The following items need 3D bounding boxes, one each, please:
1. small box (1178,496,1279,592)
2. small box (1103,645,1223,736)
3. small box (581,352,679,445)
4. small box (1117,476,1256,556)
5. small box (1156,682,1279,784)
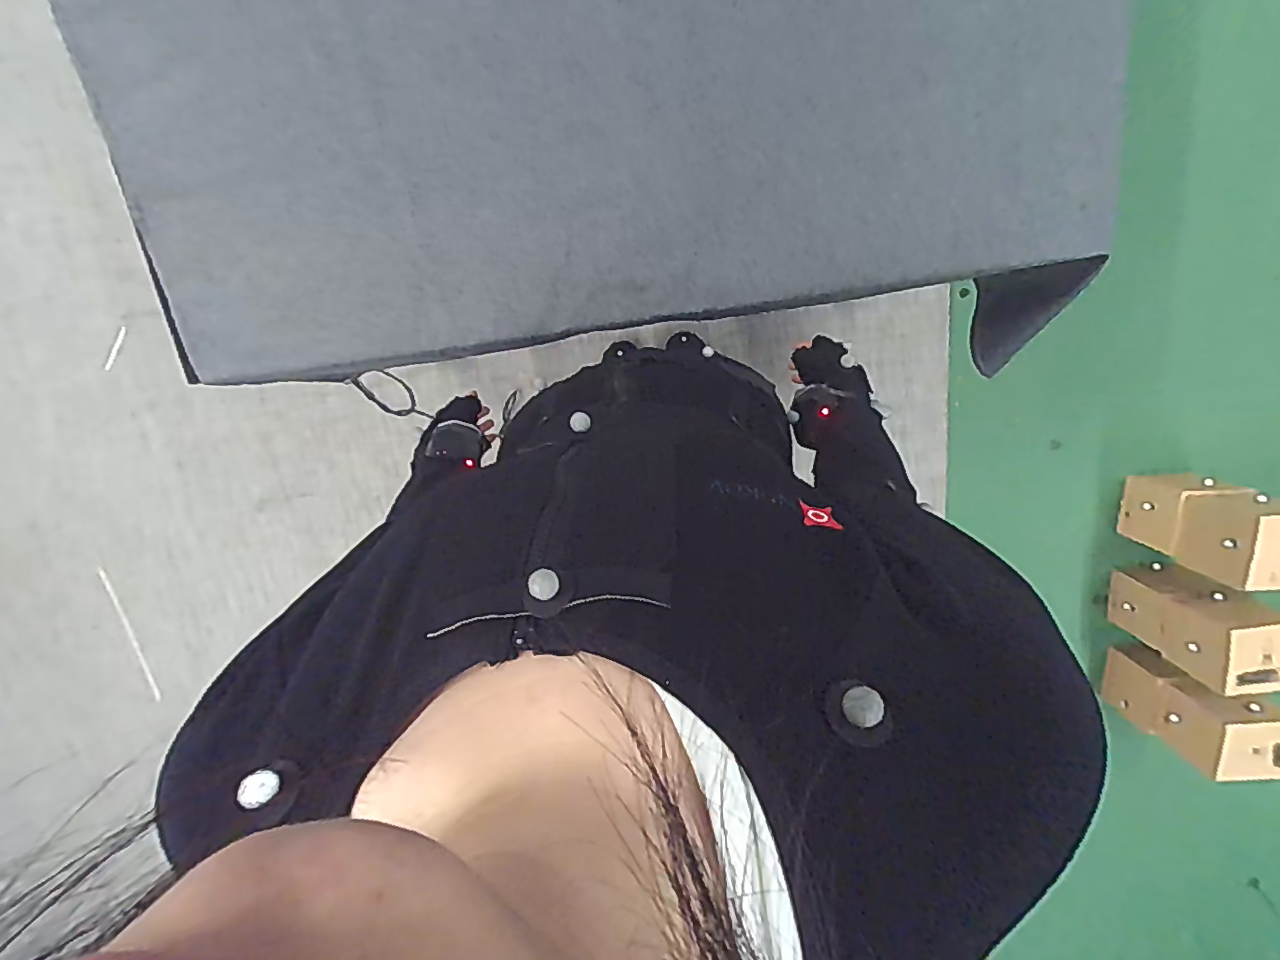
[{"bbox_3d":[1.383,0.137,1.222,0.168,0.176,0.179,-3,104,3],"label":"small box"},{"bbox_3d":[1.445,0.584,1.507,0.168,0.176,0.179,-3,105,3],"label":"small box"},{"bbox_3d":[-0.030,-0.213,1.383,0.179,0.176,0.168,34,116,11],"label":"small box"},{"bbox_3d":[1.379,0.087,1.379,0.179,0.176,0.168,-2,104,3],"label":"small box"},{"bbox_3d":[1.462,0.623,1.348,0.179,0.176,0.168,-5,105,4],"label":"small box"}]
